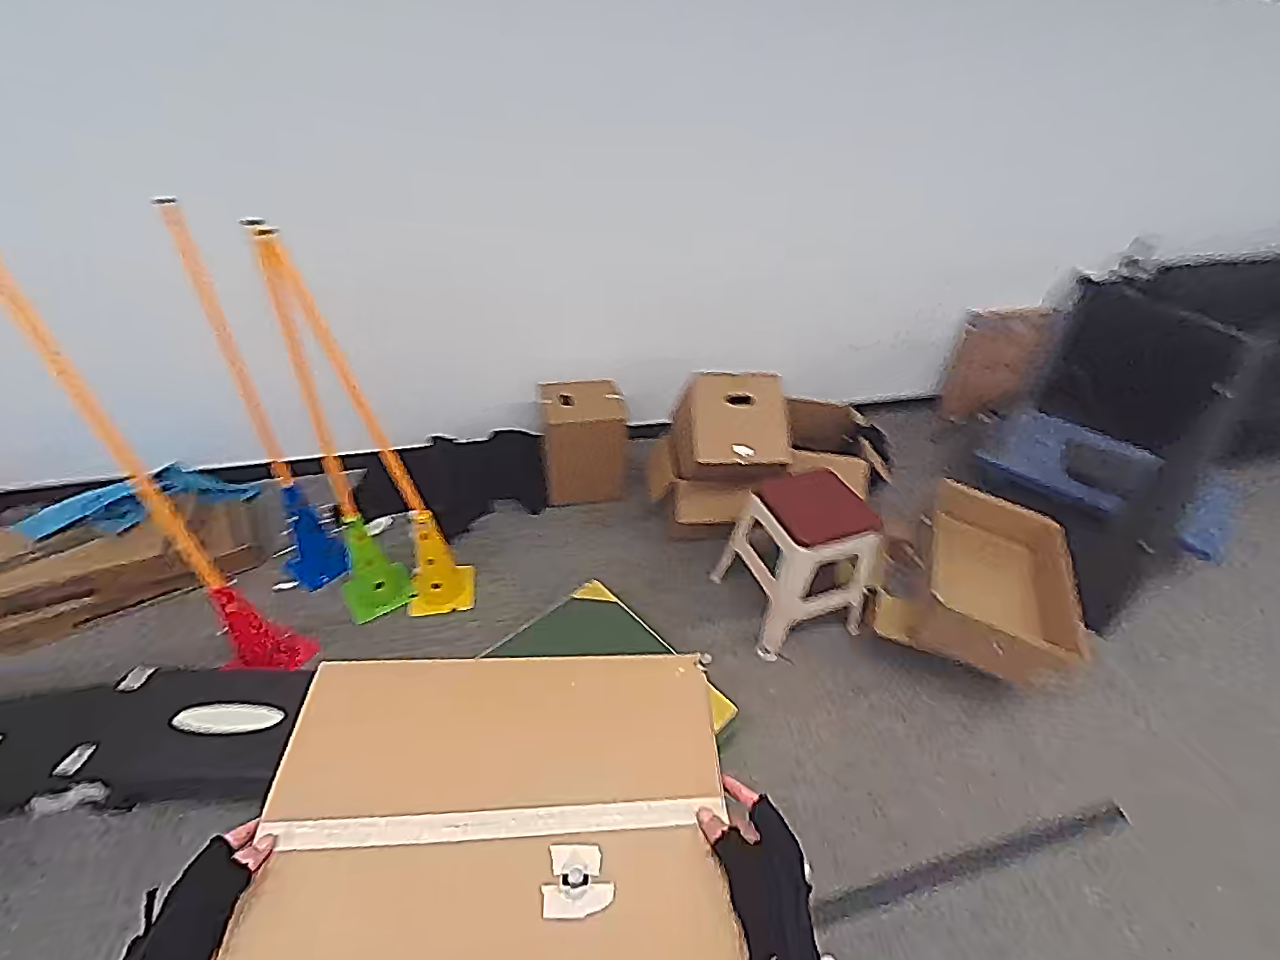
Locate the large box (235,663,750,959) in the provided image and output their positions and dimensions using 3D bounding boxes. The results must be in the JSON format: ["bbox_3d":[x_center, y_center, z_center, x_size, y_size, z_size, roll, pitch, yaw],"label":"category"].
[{"bbox_3d":[-0.131,0.418,0.589,0.408,0.320,0.320,2,45,-7],"label":"large box"}]
